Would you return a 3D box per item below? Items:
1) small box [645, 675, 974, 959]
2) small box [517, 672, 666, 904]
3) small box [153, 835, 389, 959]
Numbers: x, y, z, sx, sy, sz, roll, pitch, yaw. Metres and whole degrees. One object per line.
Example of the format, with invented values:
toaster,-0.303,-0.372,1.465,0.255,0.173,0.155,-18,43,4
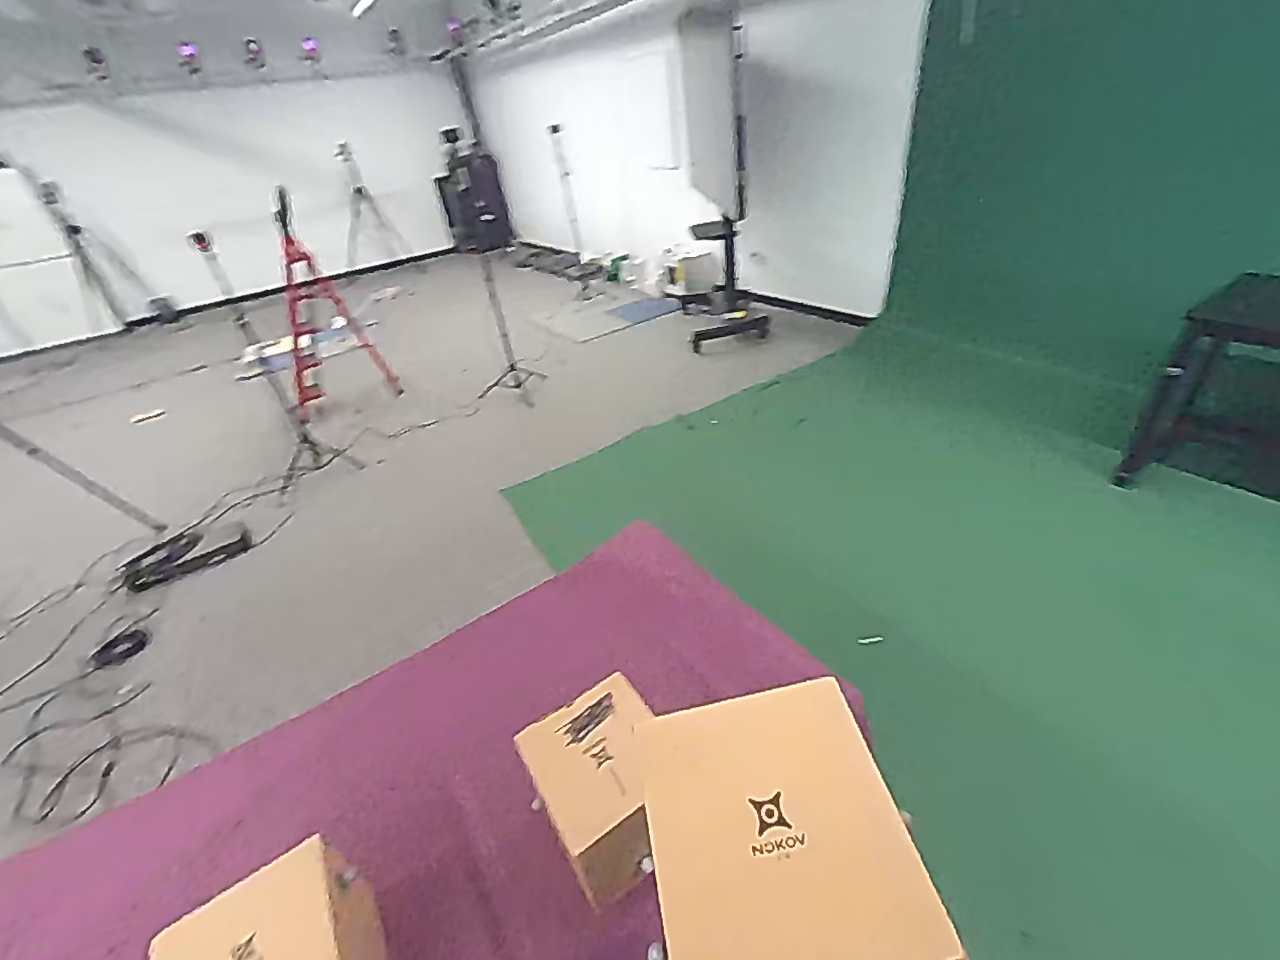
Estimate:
small box,0.104,0.283,0.412,0.168,0.176,0.179,-12,42,-2
small box,-0.041,0.405,0.721,0.168,0.176,0.179,-26,38,-24
small box,-0.383,0.545,0.580,0.168,0.176,0.179,-27,37,-25
